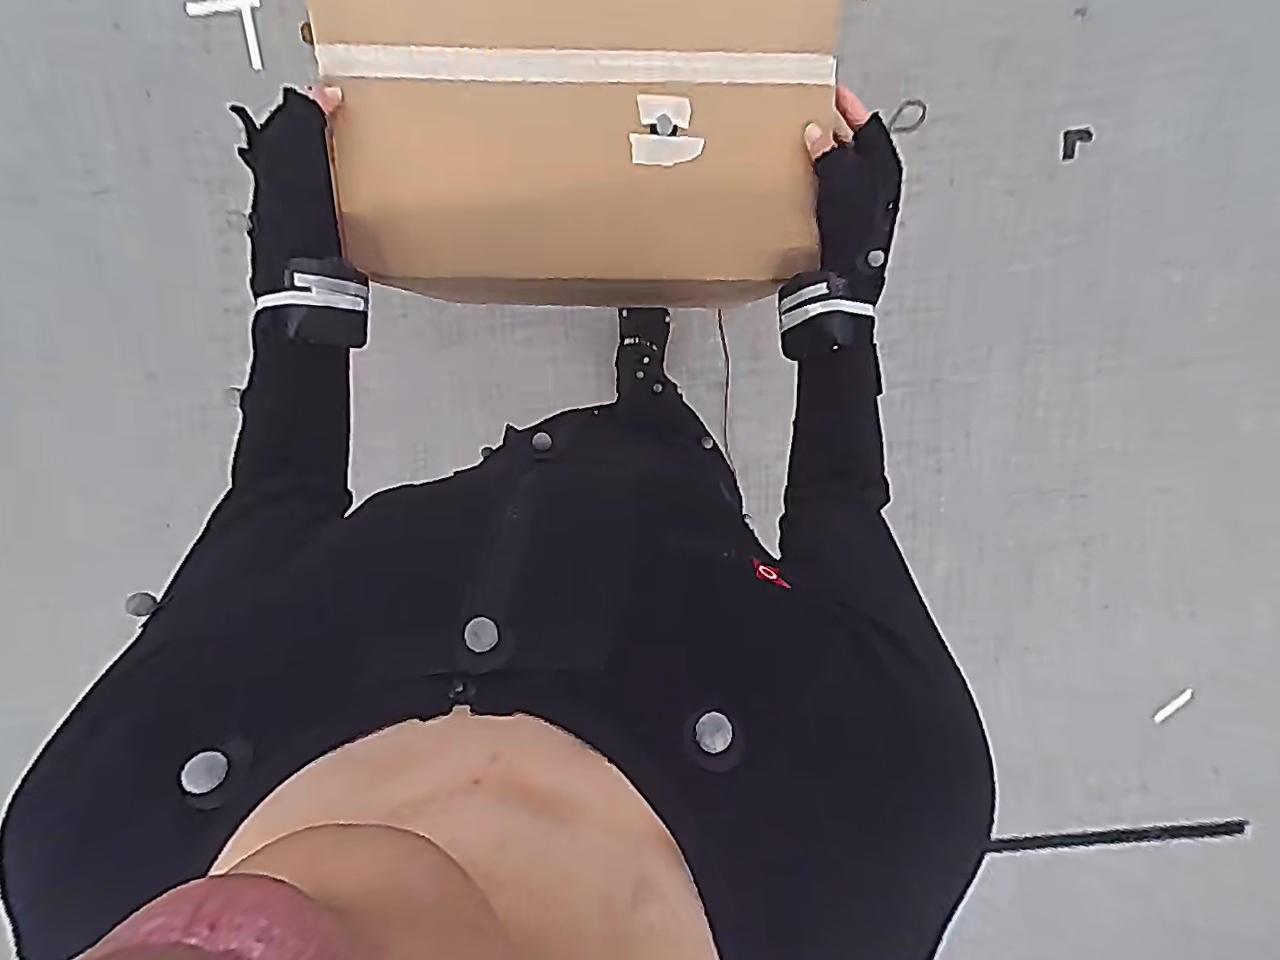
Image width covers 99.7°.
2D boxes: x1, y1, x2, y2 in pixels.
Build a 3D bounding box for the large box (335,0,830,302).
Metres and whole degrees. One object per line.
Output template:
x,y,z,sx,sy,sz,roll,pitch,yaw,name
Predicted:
-0.052,-0.372,0.589,0.408,0.320,0.320,-1,104,-3,large box
